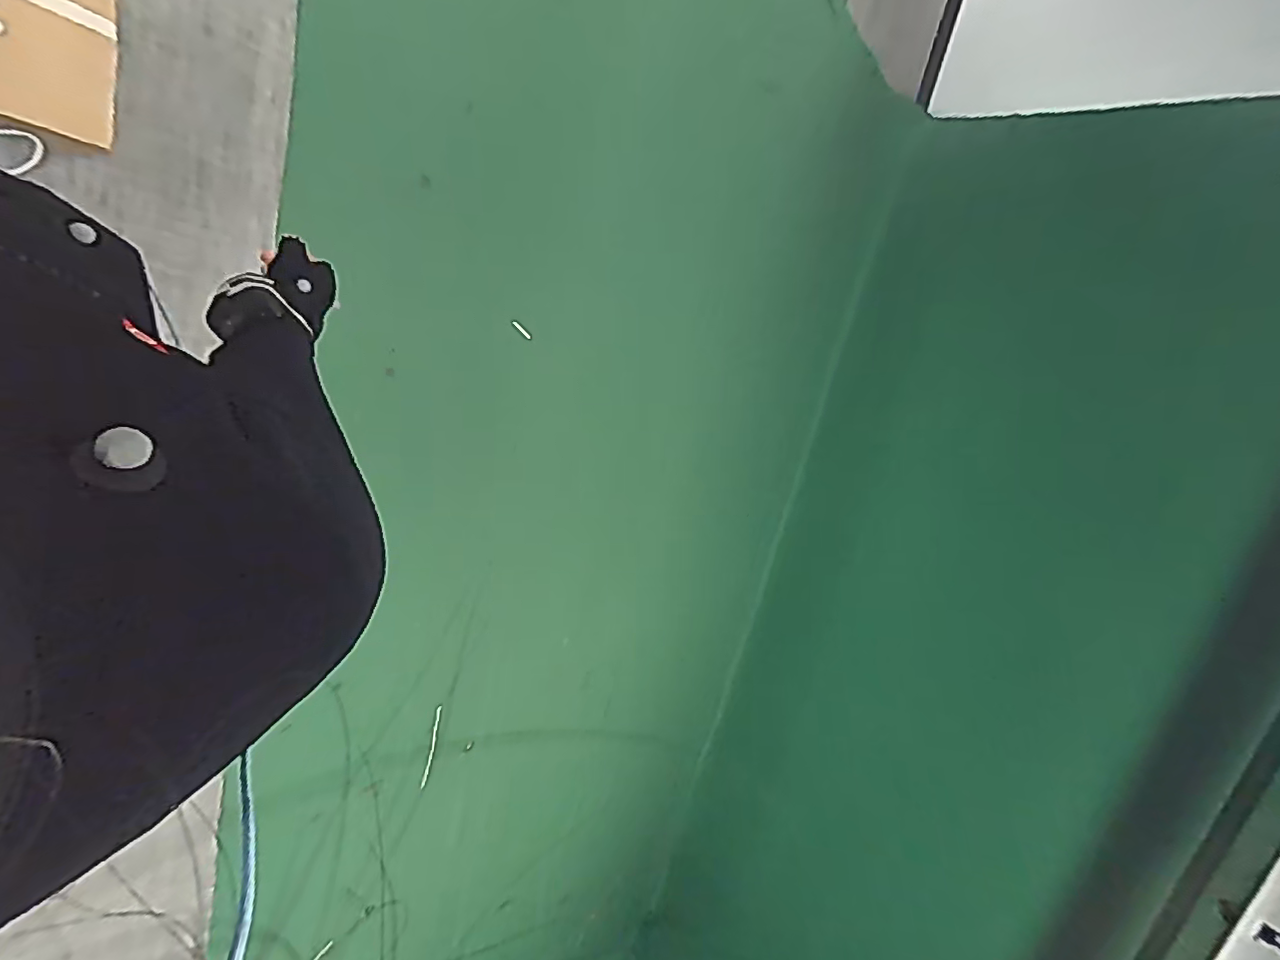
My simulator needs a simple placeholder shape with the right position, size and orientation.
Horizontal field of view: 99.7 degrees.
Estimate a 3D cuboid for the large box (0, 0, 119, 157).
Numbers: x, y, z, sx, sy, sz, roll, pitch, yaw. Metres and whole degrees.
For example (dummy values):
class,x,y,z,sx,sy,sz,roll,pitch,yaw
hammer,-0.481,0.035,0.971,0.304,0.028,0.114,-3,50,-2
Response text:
class,x,y,z,sx,sy,sz,roll,pitch,yaw
large box,-0.980,-0.676,0.704,0.408,0.320,0.320,-1,109,-51
